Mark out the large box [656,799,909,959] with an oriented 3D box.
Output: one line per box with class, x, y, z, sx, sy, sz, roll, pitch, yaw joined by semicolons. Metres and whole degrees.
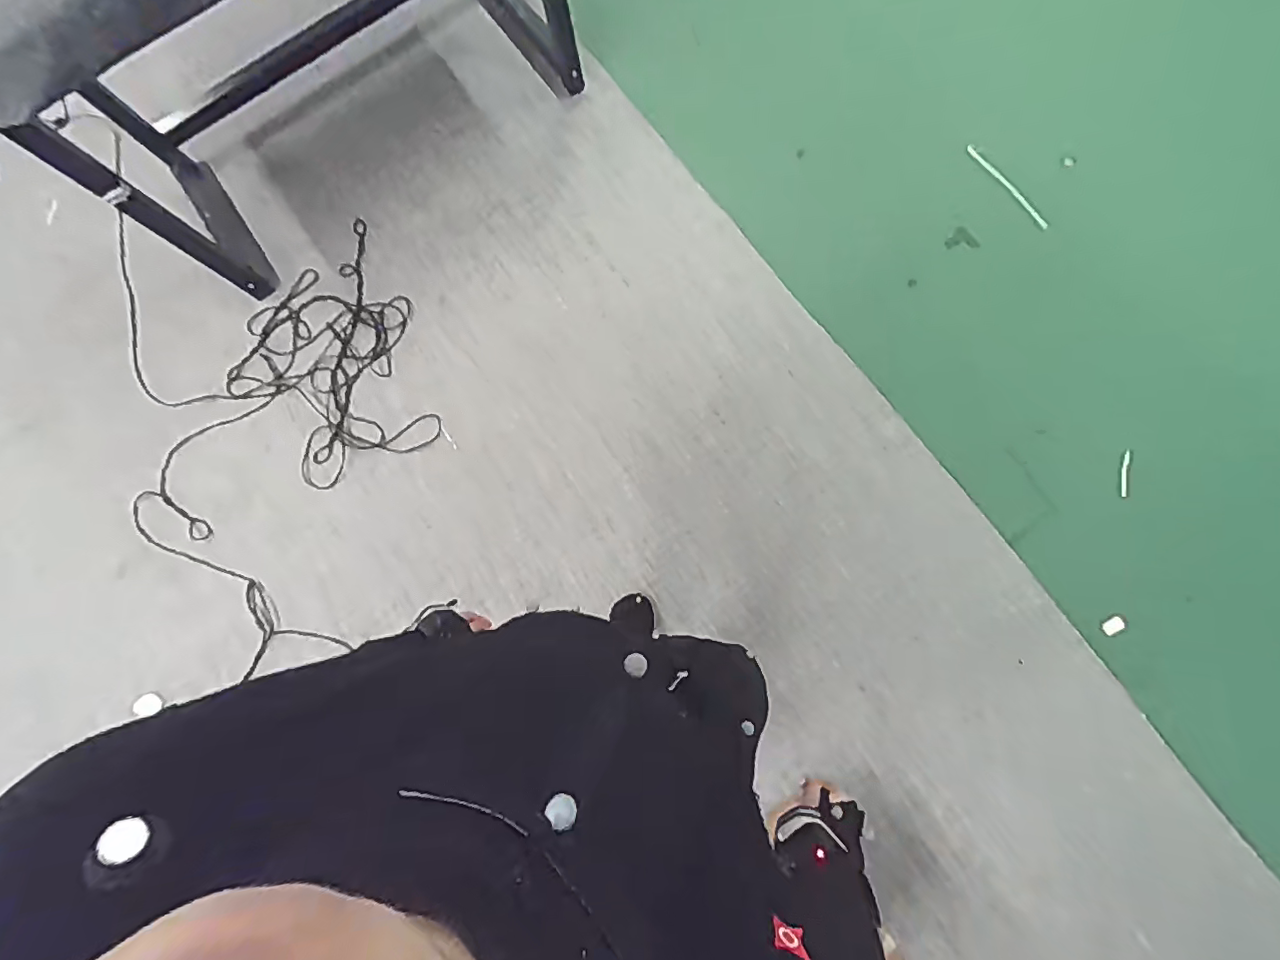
large box;0.279;0.941;1.071;0.408;0.320;0.320;-36;78;-1
